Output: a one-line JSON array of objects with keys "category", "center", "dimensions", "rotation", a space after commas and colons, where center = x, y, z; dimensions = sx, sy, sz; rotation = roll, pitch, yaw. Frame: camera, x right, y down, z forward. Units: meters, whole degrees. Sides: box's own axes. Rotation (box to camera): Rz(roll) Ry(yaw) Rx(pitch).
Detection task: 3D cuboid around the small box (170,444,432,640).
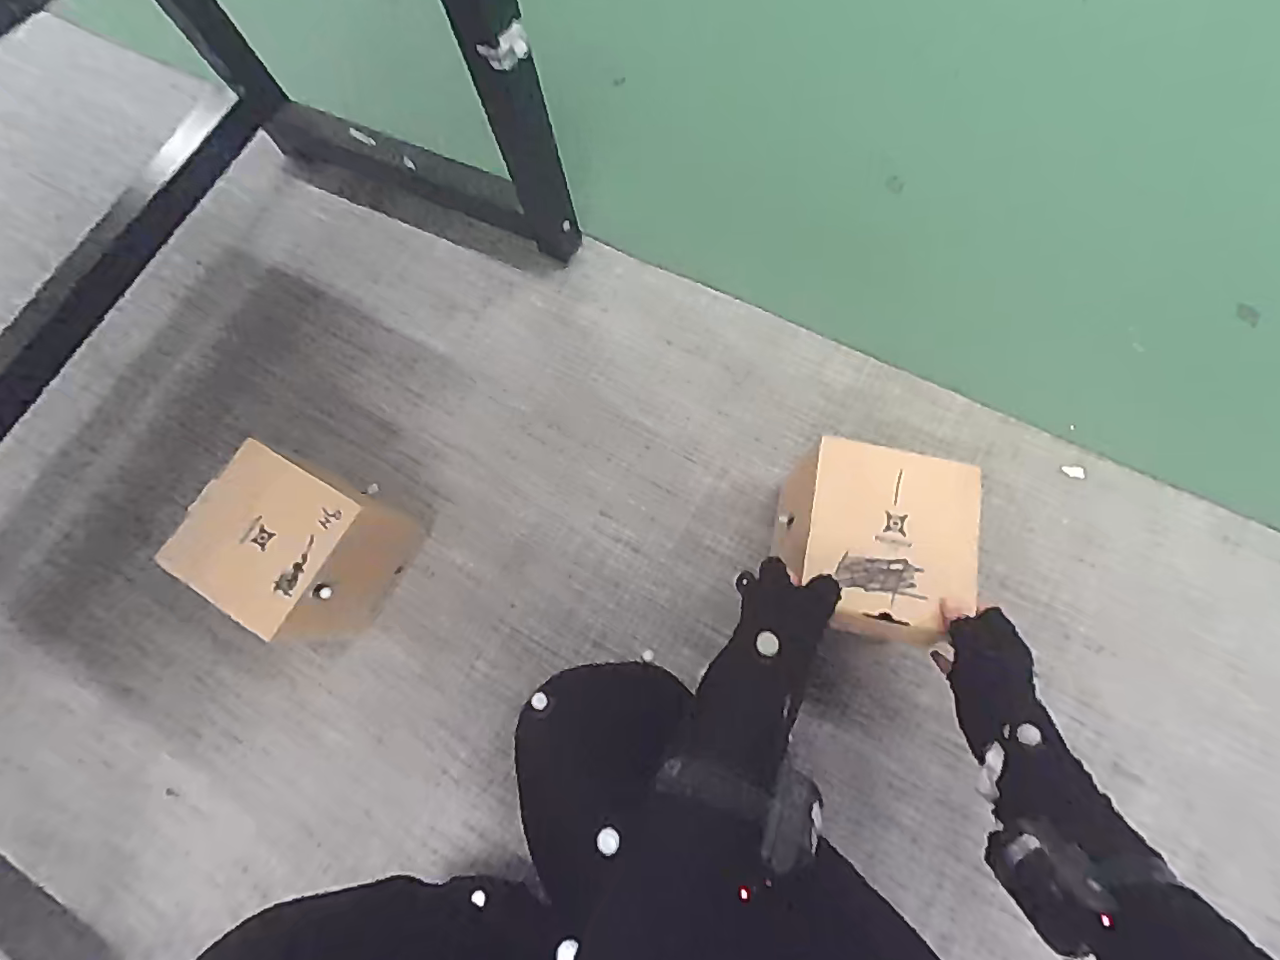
[{"category": "small box", "center": [-0.403, 0.085, 0.673], "dimensions": [0.179, 0.176, 0.168], "rotation": [28, 80, 13]}]
